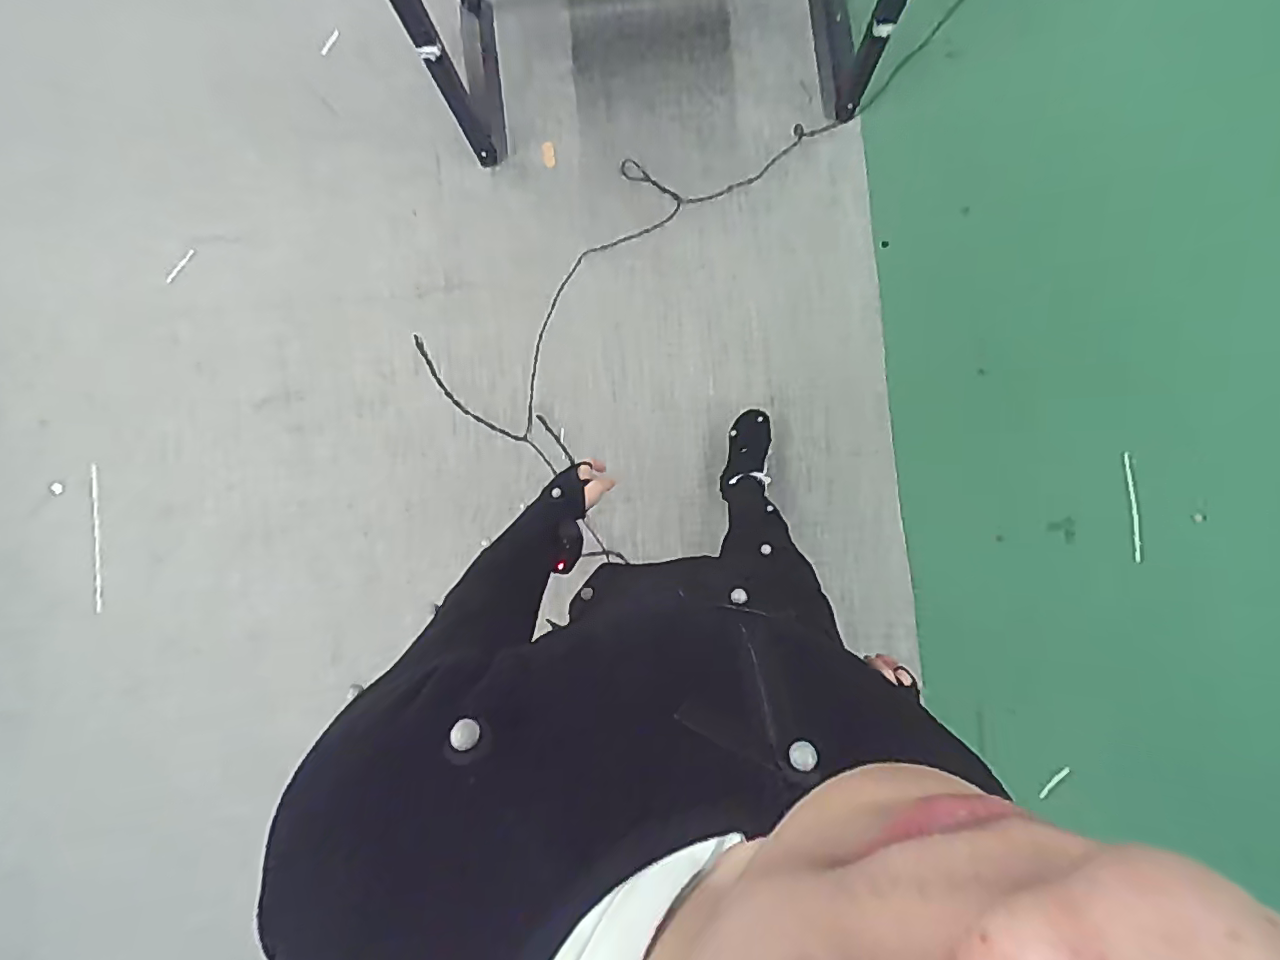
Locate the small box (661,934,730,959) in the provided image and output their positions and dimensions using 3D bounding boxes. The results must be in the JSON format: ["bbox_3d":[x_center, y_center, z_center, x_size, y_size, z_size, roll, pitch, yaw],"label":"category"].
[{"bbox_3d":[0.136,1.206,1.262,0.168,0.176,0.179,-6,87,4],"label":"small box"}]

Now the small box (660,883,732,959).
[{"bbox_3d":[0.148,1.202,1.424,0.179,0.176,0.168,-4,86,6],"label":"small box"}]
